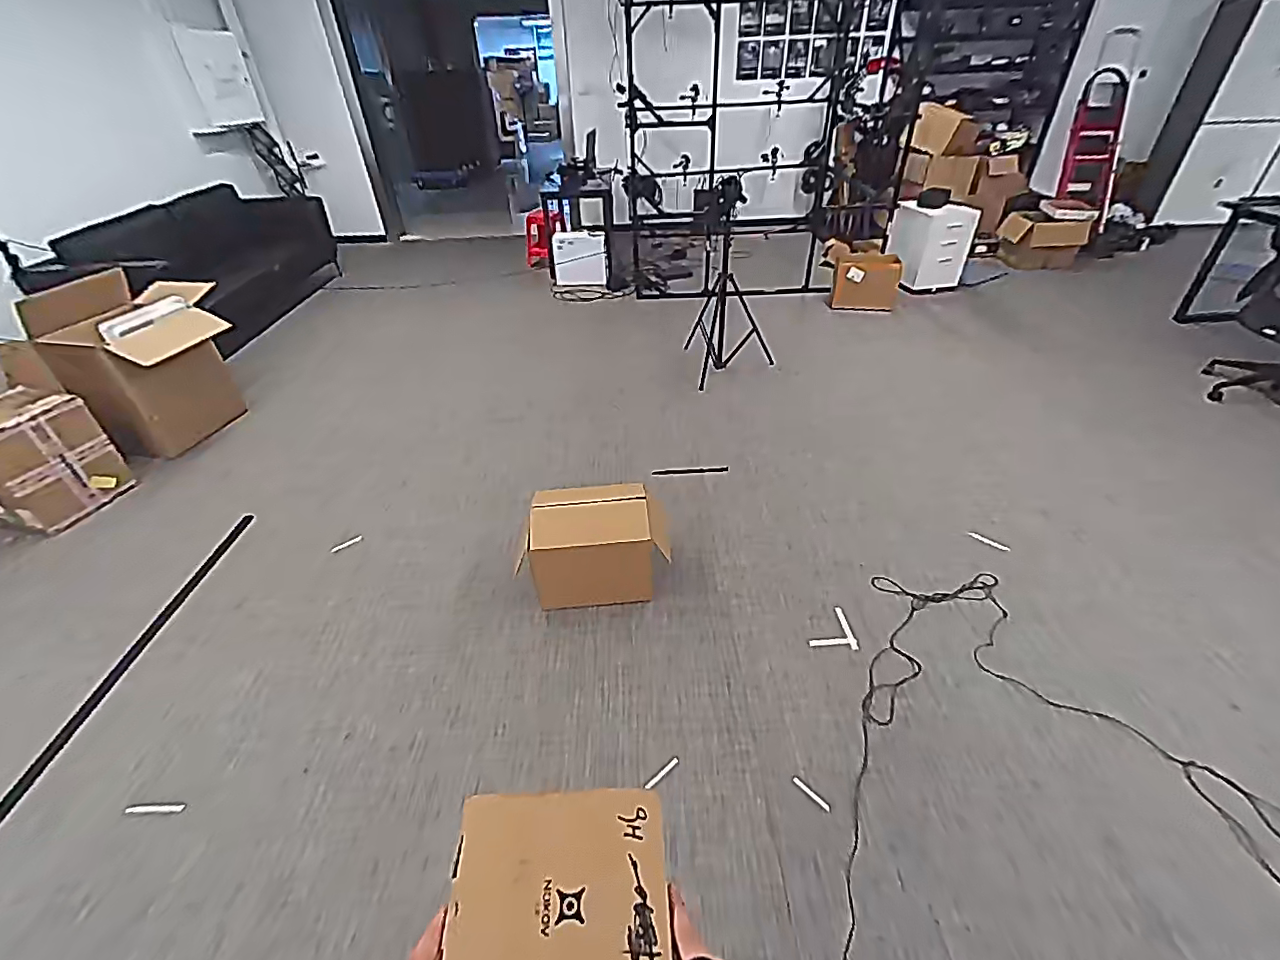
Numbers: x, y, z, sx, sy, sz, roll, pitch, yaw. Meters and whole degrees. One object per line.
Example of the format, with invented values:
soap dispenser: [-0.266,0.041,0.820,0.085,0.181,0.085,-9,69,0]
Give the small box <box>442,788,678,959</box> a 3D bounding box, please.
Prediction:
small box: [-0.061,0.391,0.473,0.179,0.176,0.168,-1,42,-3]
